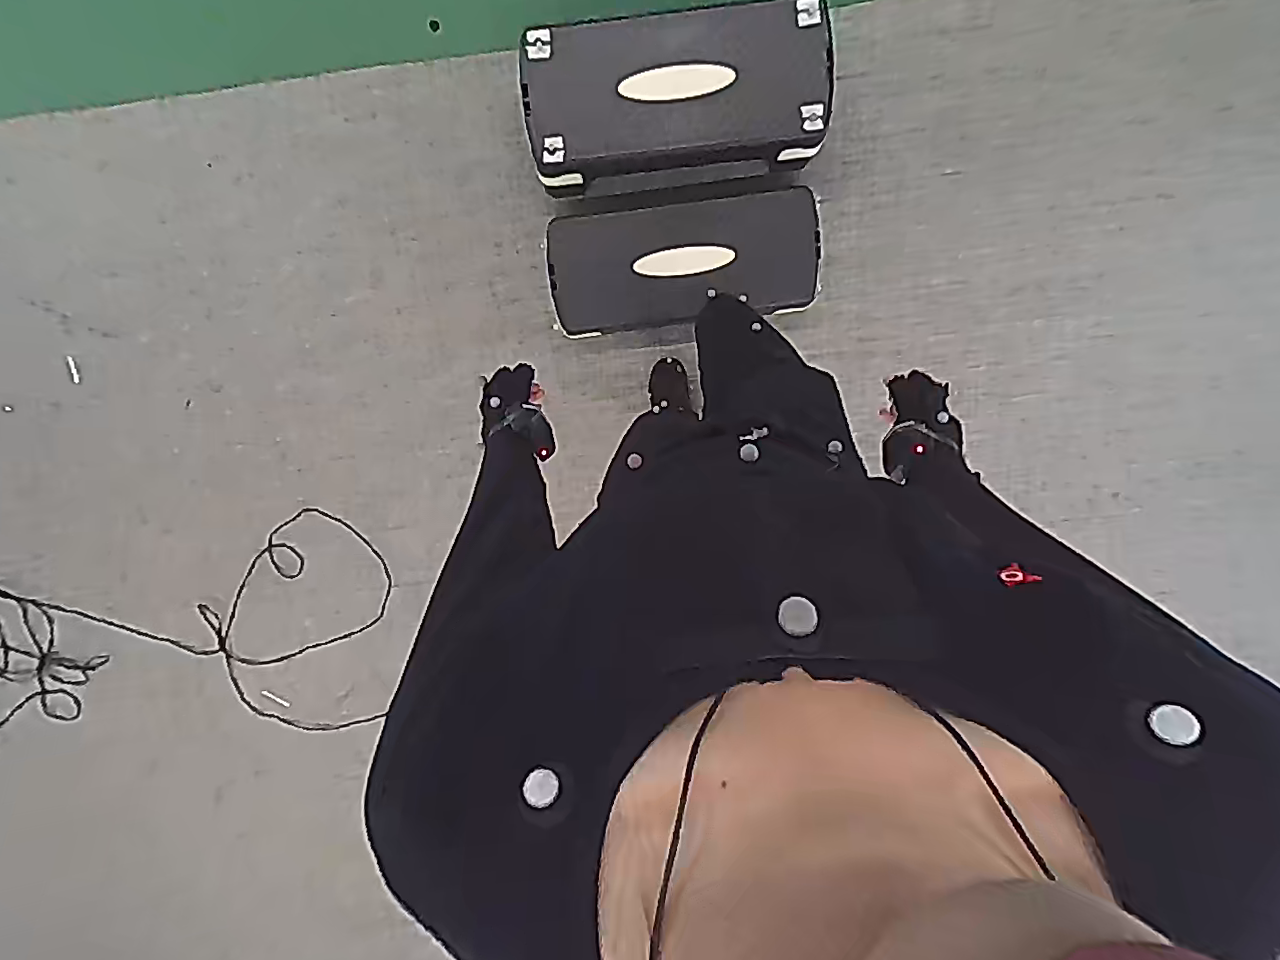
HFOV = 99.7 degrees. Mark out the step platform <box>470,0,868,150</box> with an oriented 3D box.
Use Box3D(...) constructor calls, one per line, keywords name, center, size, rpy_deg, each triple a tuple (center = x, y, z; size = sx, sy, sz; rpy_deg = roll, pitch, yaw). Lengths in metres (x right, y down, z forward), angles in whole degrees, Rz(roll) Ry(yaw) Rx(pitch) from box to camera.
Box3D(name="step platform", center=(0.051, -0.836, 1.015), size=(0.684, 0.204, 0.286), rpy_deg=(-6, 103, 2))
